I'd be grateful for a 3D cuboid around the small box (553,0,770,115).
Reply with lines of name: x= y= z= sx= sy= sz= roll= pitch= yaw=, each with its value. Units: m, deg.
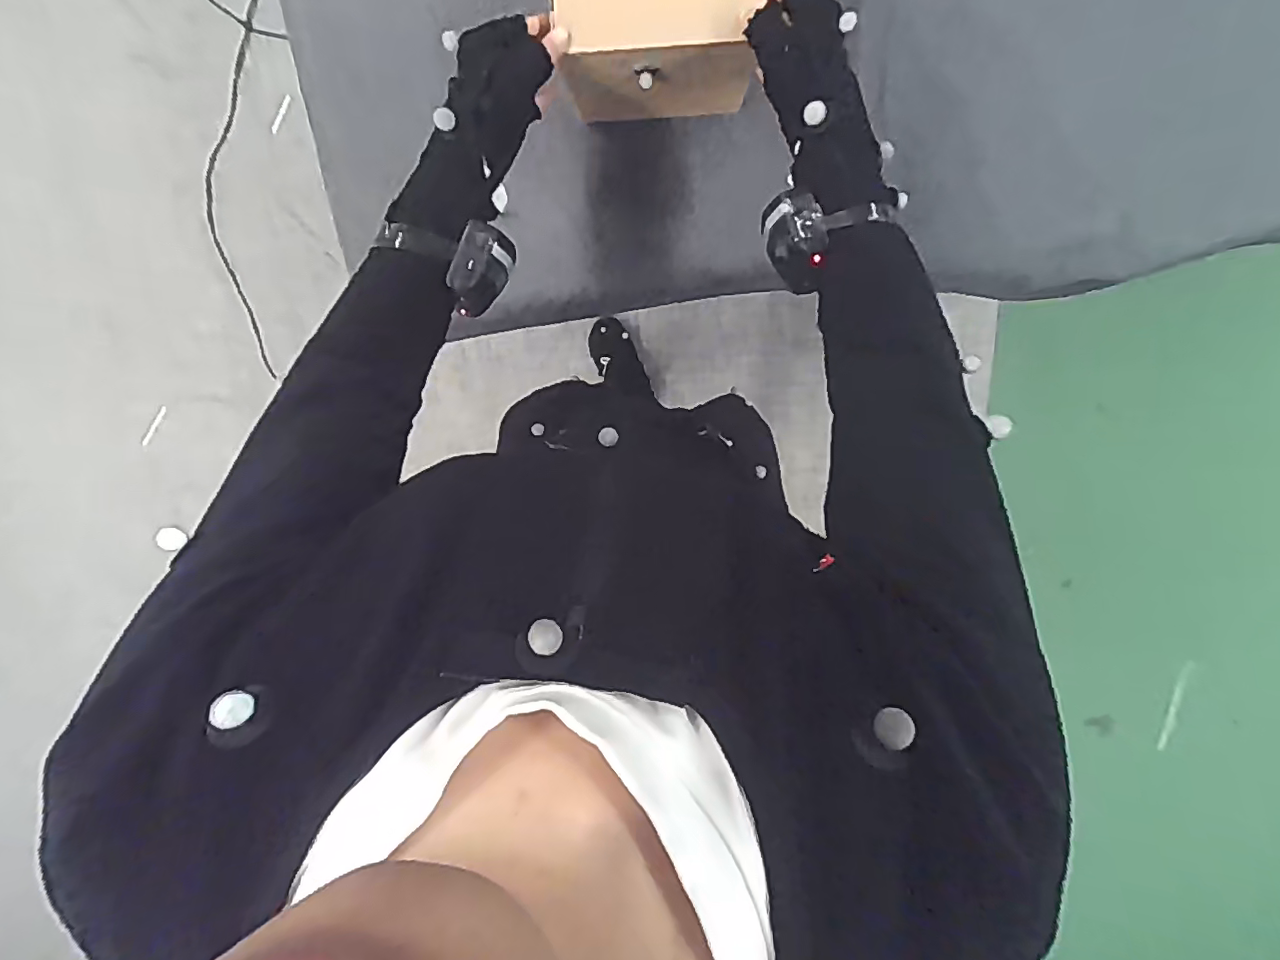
small box: x=0.018 y=-0.455 z=0.493 sx=0.179 sy=0.176 sz=0.168 roll=-2 pitch=108 yaw=2
